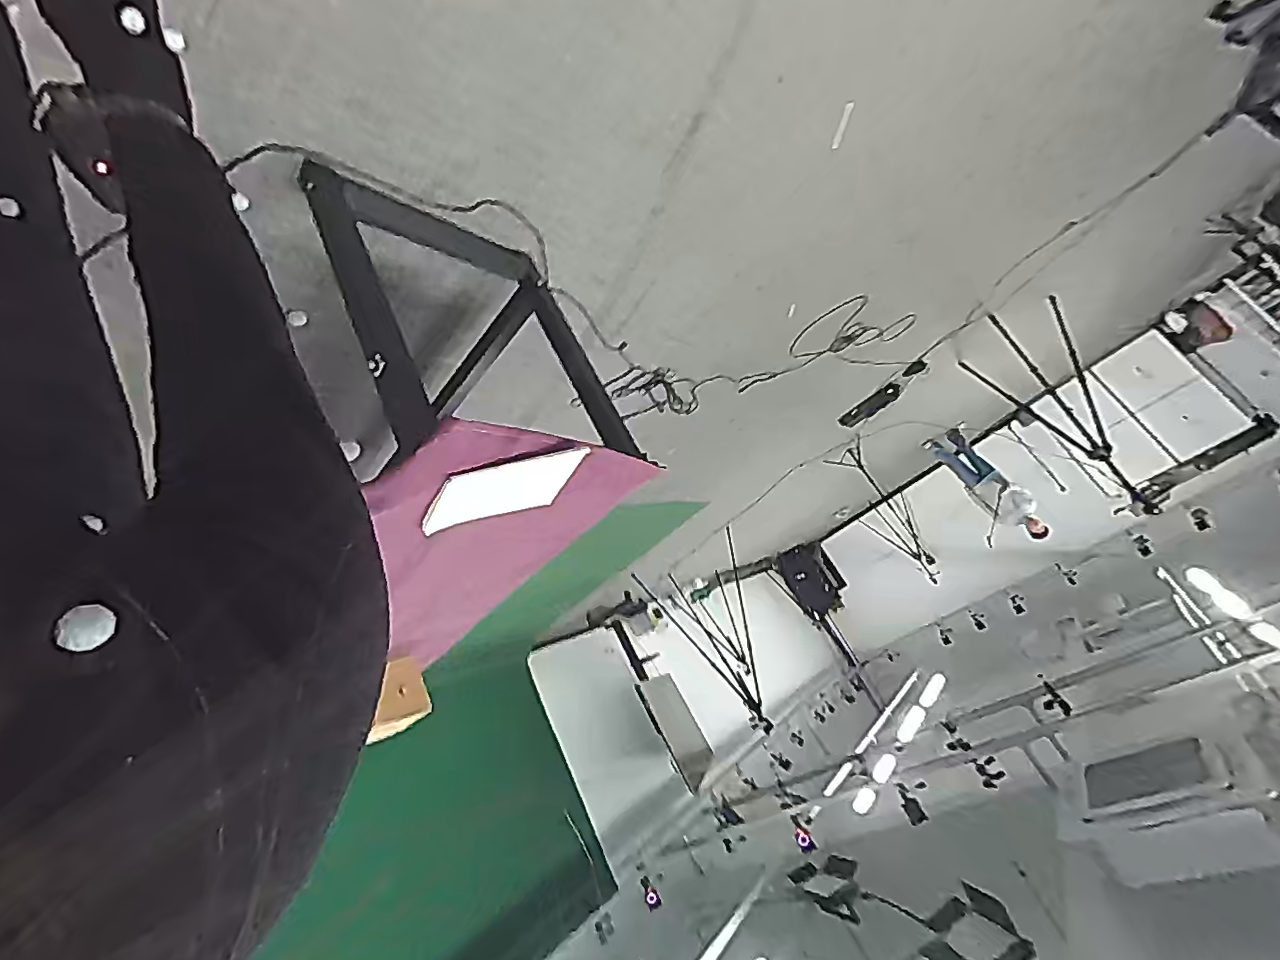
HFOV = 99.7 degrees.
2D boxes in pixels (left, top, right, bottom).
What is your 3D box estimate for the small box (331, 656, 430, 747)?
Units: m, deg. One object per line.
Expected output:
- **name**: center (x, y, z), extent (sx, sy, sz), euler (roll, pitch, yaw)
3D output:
- **small box**: center (-0.746, 0.627, 1.553), extent (0.168, 0.176, 0.179), euler (-39, 158, 24)
